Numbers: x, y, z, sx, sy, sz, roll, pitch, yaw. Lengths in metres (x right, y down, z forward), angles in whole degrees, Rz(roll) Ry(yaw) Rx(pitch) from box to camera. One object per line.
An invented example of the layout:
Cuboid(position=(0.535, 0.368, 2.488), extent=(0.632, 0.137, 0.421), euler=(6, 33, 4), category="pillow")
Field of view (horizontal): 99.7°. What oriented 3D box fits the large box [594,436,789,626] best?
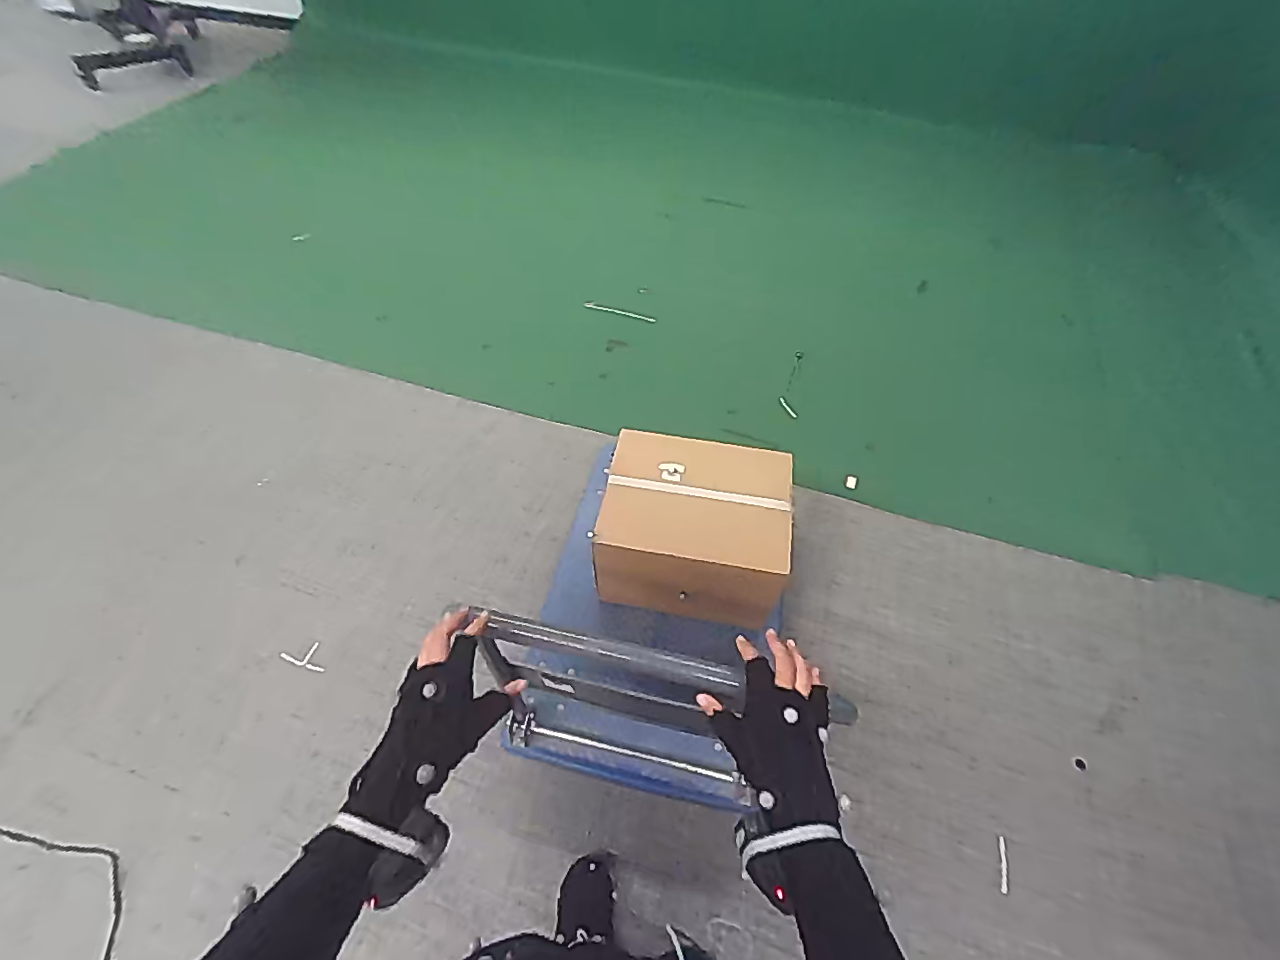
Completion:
Cuboid(position=(0.126, 0.128, 1.302), extent=(0.408, 0.320, 0.320), euler=(9, 54, 6), category="large box")
